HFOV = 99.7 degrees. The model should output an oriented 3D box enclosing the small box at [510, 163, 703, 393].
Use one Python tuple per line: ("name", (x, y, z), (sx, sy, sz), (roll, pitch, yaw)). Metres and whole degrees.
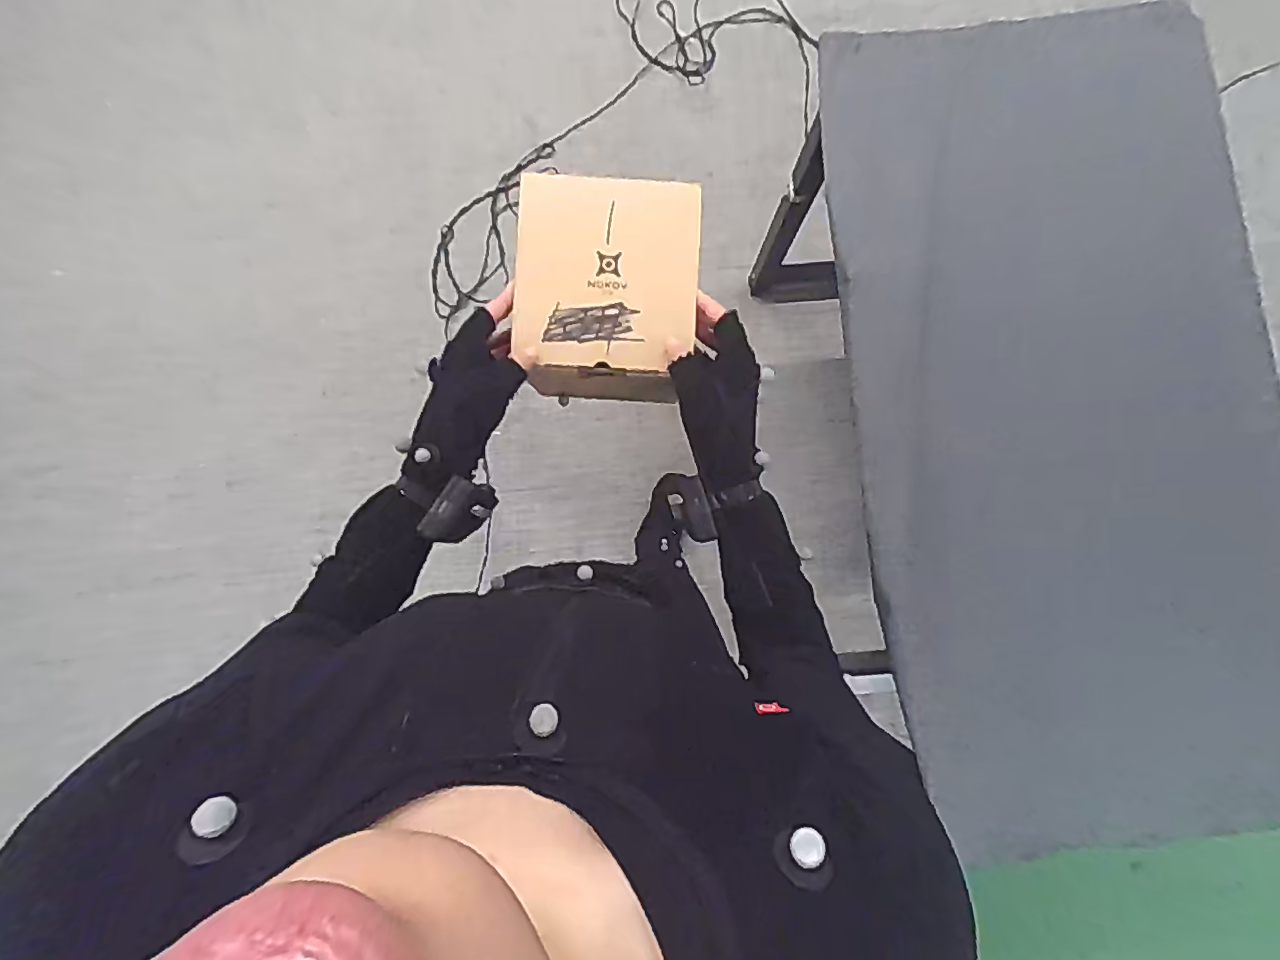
("small box", (-0.031, -0.191, 0.563), (0.168, 0.176, 0.179), (3, 89, -1))
